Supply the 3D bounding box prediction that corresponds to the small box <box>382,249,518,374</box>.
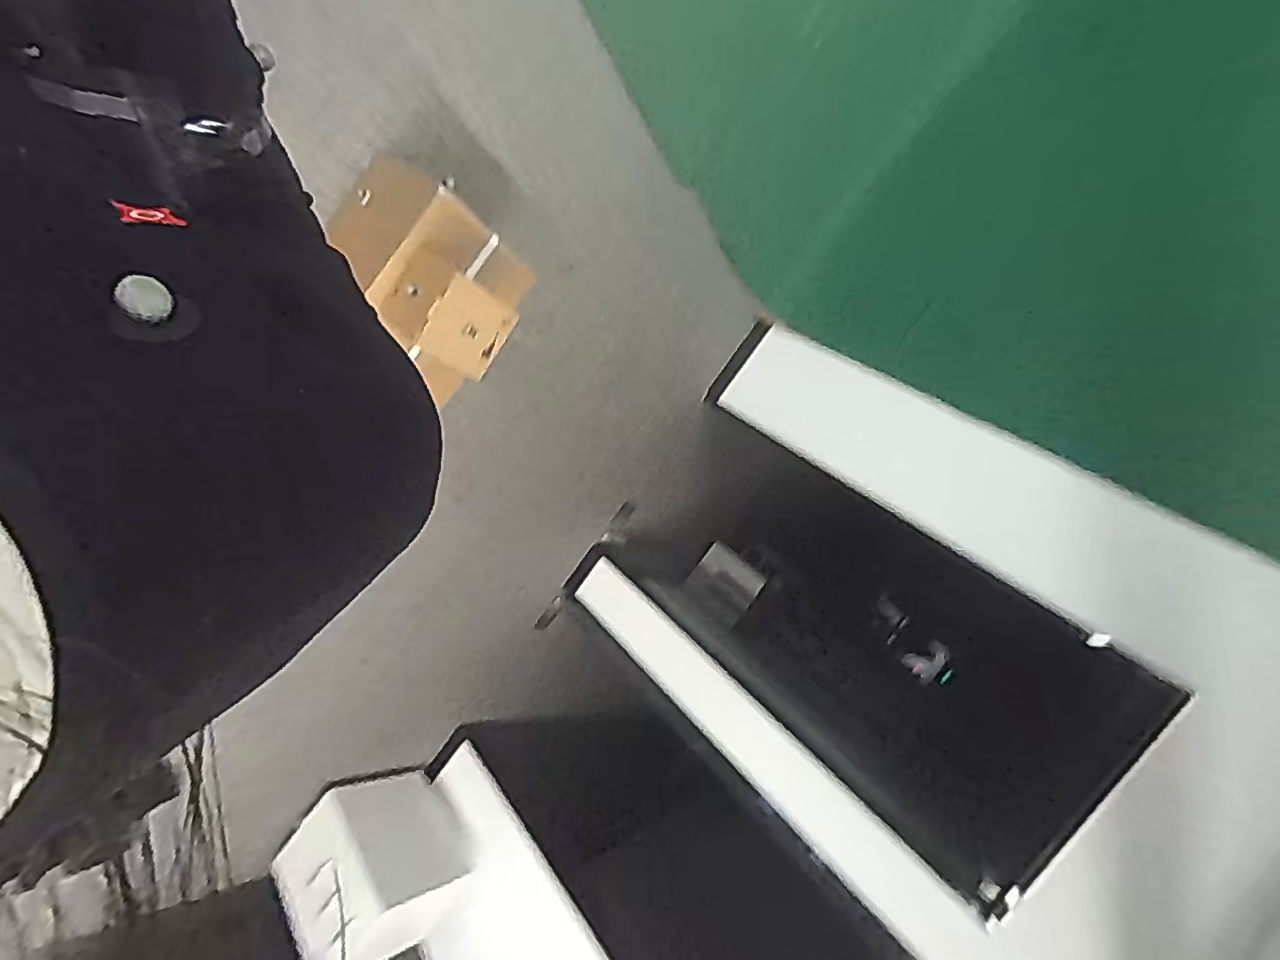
[{"bbox_3d":[-0.400,-0.355,1.129,0.168,0.176,0.179,-55,148,6],"label":"small box"}]
